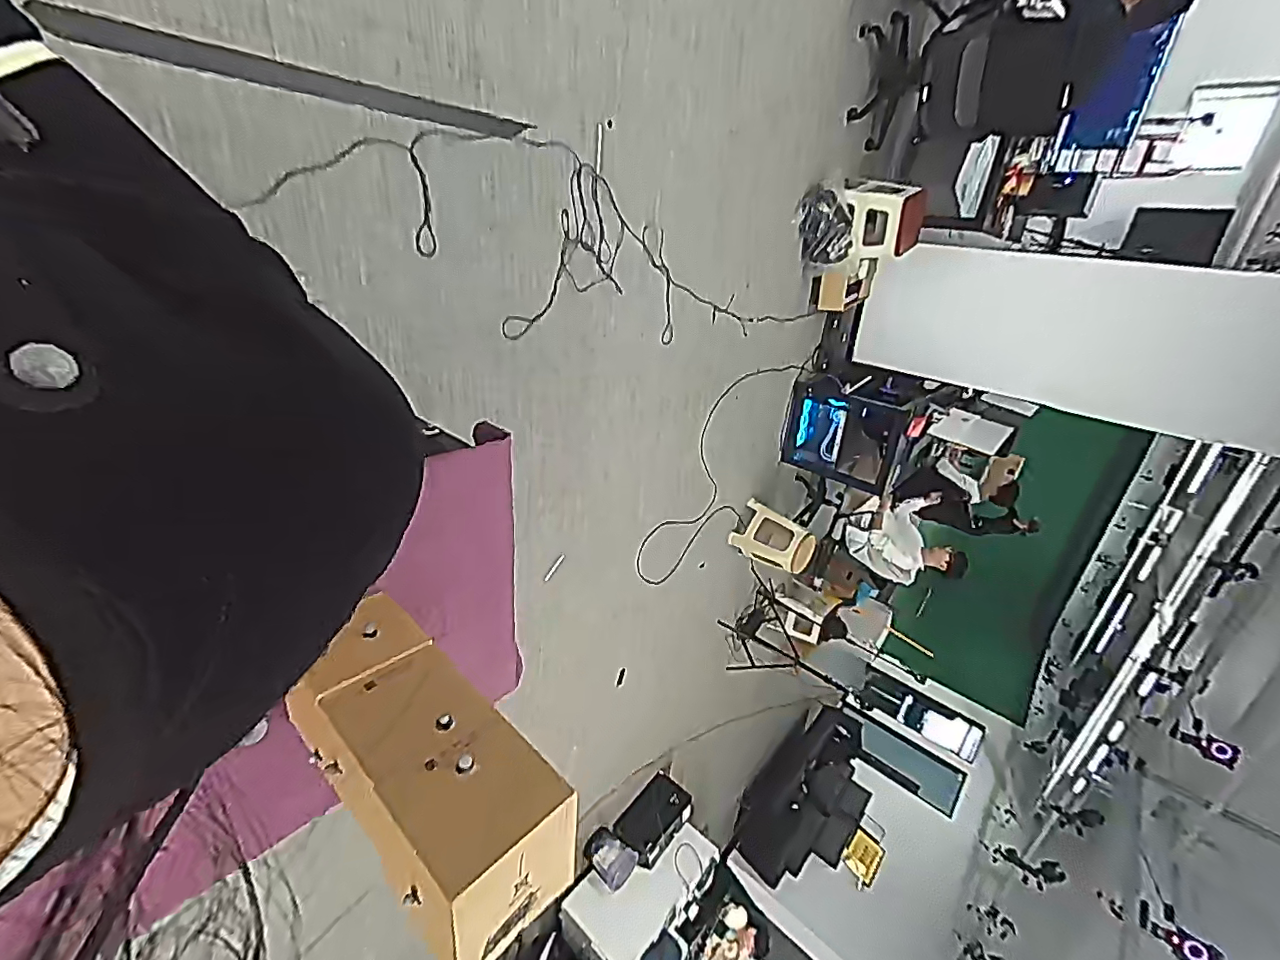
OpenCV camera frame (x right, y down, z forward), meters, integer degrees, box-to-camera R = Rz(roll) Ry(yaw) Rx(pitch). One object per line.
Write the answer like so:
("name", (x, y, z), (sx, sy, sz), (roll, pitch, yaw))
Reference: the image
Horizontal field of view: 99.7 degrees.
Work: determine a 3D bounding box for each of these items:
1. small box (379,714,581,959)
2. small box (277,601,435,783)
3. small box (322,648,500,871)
("small box", (-0.191, 0.427, 0.651), (0.168, 0.176, 0.179), (-21, 125, -45))
("small box", (-0.434, 0.311, 0.840), (0.168, 0.176, 0.179), (-21, 126, -45))
("small box", (-0.312, 0.372, 0.749), (0.168, 0.176, 0.179), (-22, 127, -45))
